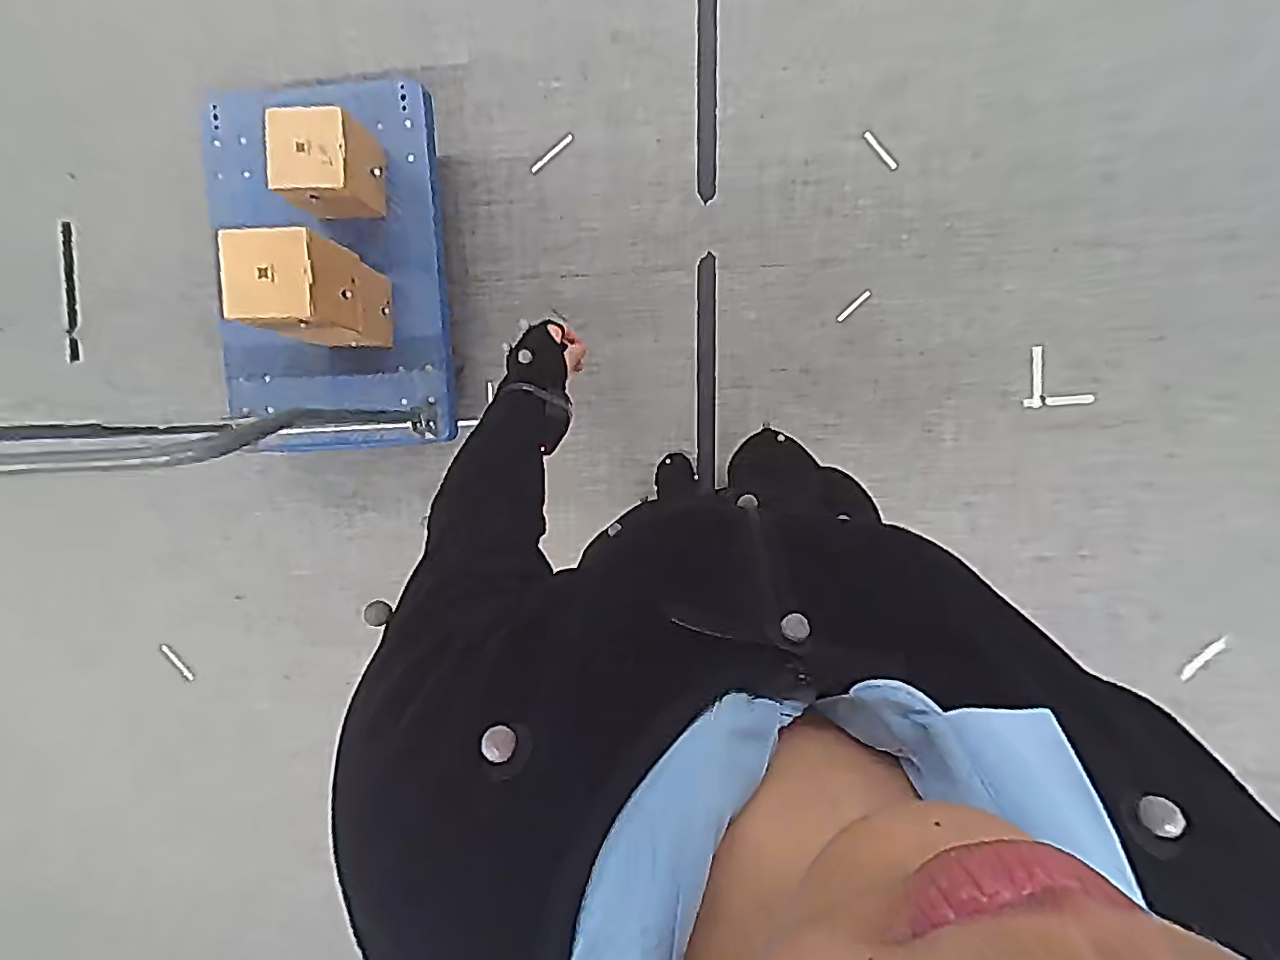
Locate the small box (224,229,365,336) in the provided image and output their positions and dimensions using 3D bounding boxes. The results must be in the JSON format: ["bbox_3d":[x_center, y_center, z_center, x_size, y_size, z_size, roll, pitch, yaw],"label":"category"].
[{"bbox_3d":[-0.687,-0.388,1.089,0.179,0.176,0.168,-1,94,3],"label":"small box"}]

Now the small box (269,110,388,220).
[{"bbox_3d":[-0.700,-0.707,1.229,0.179,0.176,0.168,1,95,4],"label":"small box"}]
